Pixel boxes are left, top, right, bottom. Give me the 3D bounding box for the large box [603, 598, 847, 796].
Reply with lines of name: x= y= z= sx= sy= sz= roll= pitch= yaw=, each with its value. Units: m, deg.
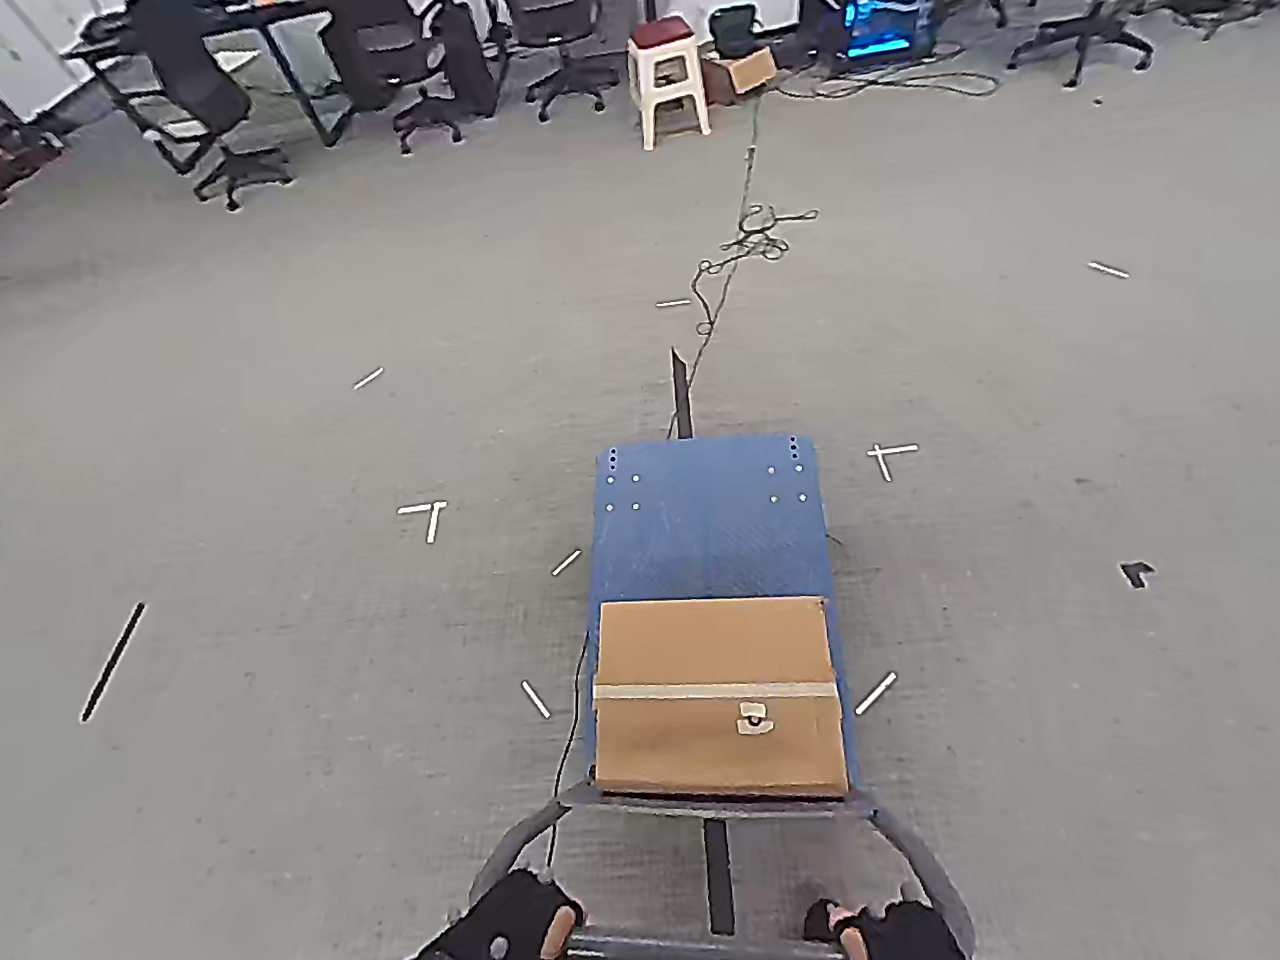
large box: x=0.150 y=0.430 z=1.073 sx=0.408 sy=0.320 sz=0.320 roll=-4 pitch=66 yaw=7
